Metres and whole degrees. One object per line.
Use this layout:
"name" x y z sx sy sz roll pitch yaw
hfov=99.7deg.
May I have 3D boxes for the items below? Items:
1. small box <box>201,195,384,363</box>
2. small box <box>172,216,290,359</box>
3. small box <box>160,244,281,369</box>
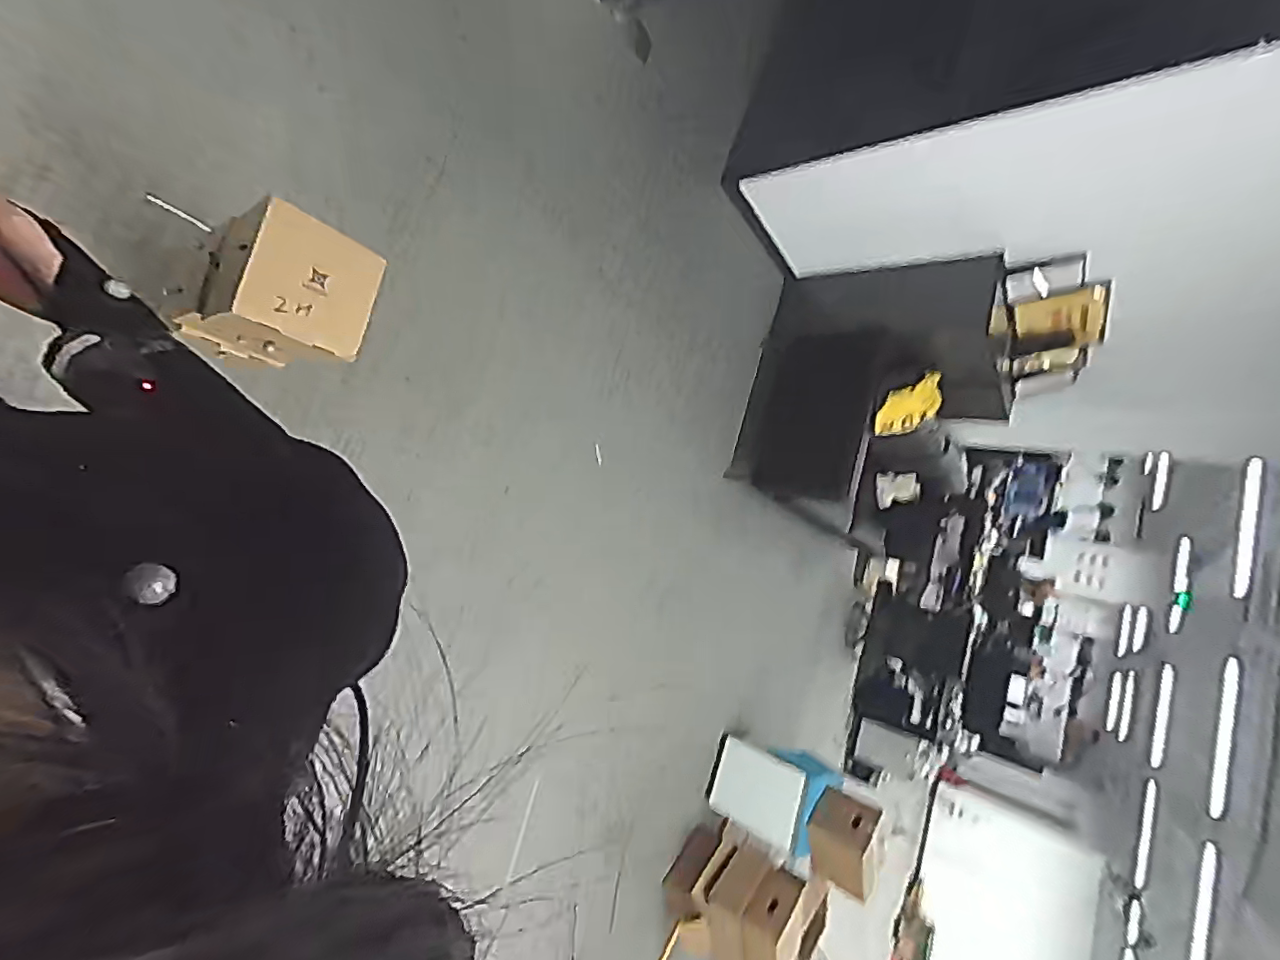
"small box" -0.532 -0.293 0.827 0.168 0.176 0.179 24 79 -50
"small box" -0.659 -0.314 0.929 0.179 0.176 0.168 26 77 -50
"small box" -0.782 -0.327 1.039 0.168 0.176 0.179 25 79 -51
